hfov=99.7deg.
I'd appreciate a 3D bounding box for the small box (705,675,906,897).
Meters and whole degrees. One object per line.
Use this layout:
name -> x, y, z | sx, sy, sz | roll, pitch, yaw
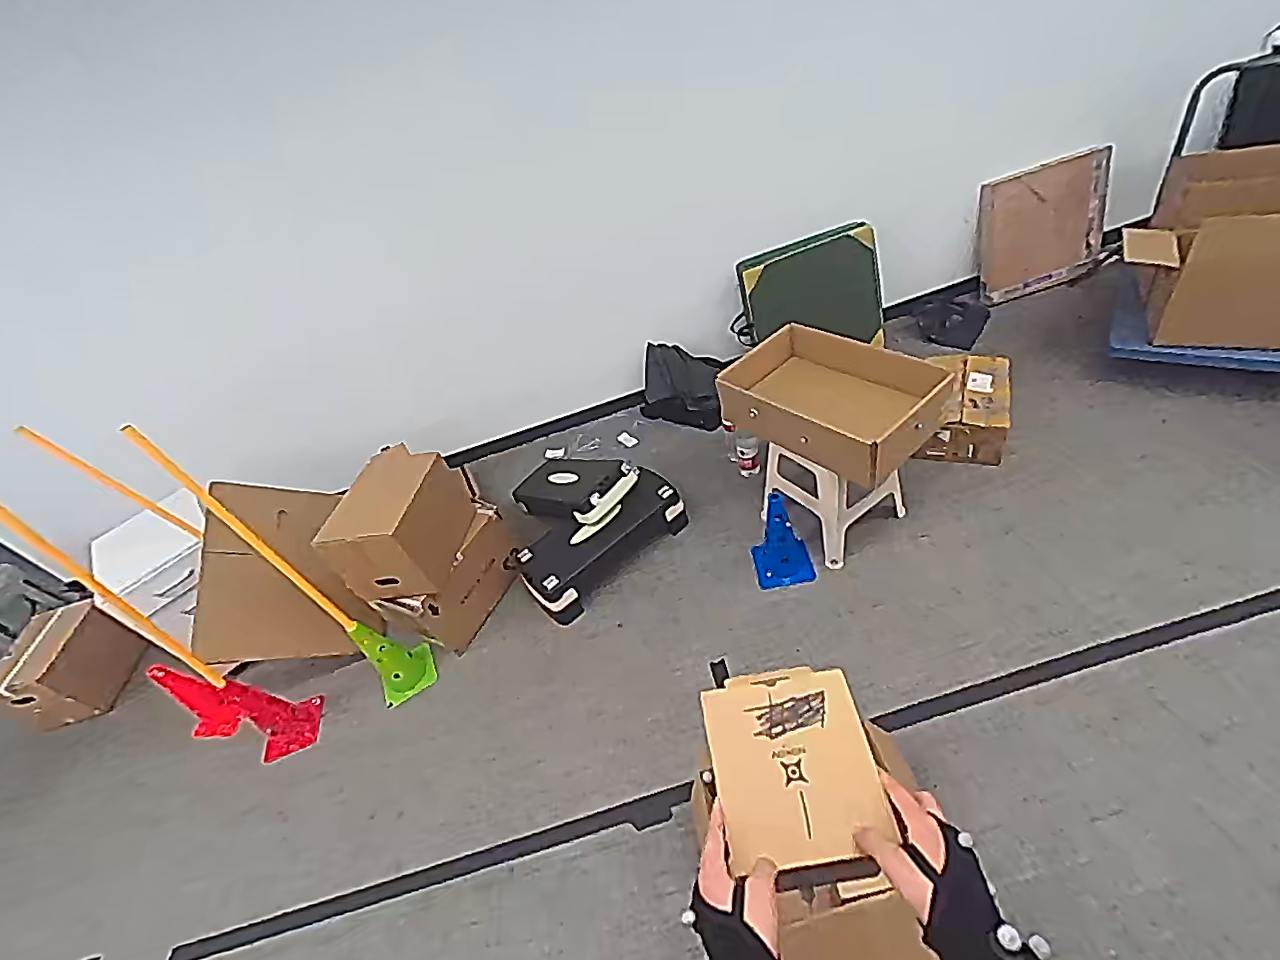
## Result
small box -> 0.172, 0.353, 0.623 | 0.168, 0.176, 0.179 | -11, 47, 2
